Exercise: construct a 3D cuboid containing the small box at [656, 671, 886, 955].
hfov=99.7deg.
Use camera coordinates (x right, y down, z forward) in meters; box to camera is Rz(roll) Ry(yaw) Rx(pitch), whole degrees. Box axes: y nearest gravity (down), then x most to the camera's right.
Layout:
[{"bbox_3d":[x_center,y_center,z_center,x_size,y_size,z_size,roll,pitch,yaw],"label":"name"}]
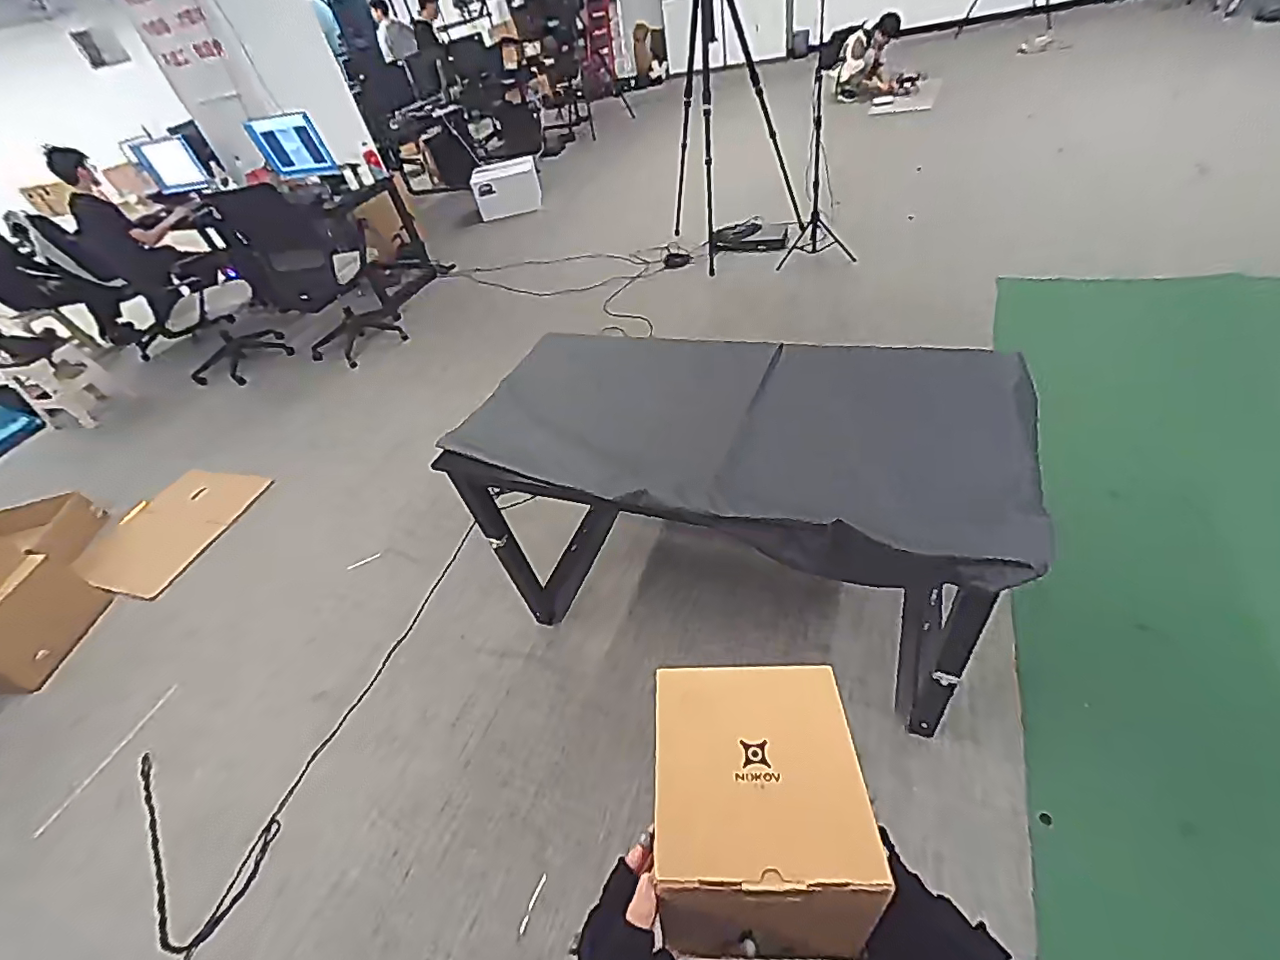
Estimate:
[{"bbox_3d":[0.101,0.301,0.500,0.168,0.176,0.179,-2,37,4],"label":"small box"}]
